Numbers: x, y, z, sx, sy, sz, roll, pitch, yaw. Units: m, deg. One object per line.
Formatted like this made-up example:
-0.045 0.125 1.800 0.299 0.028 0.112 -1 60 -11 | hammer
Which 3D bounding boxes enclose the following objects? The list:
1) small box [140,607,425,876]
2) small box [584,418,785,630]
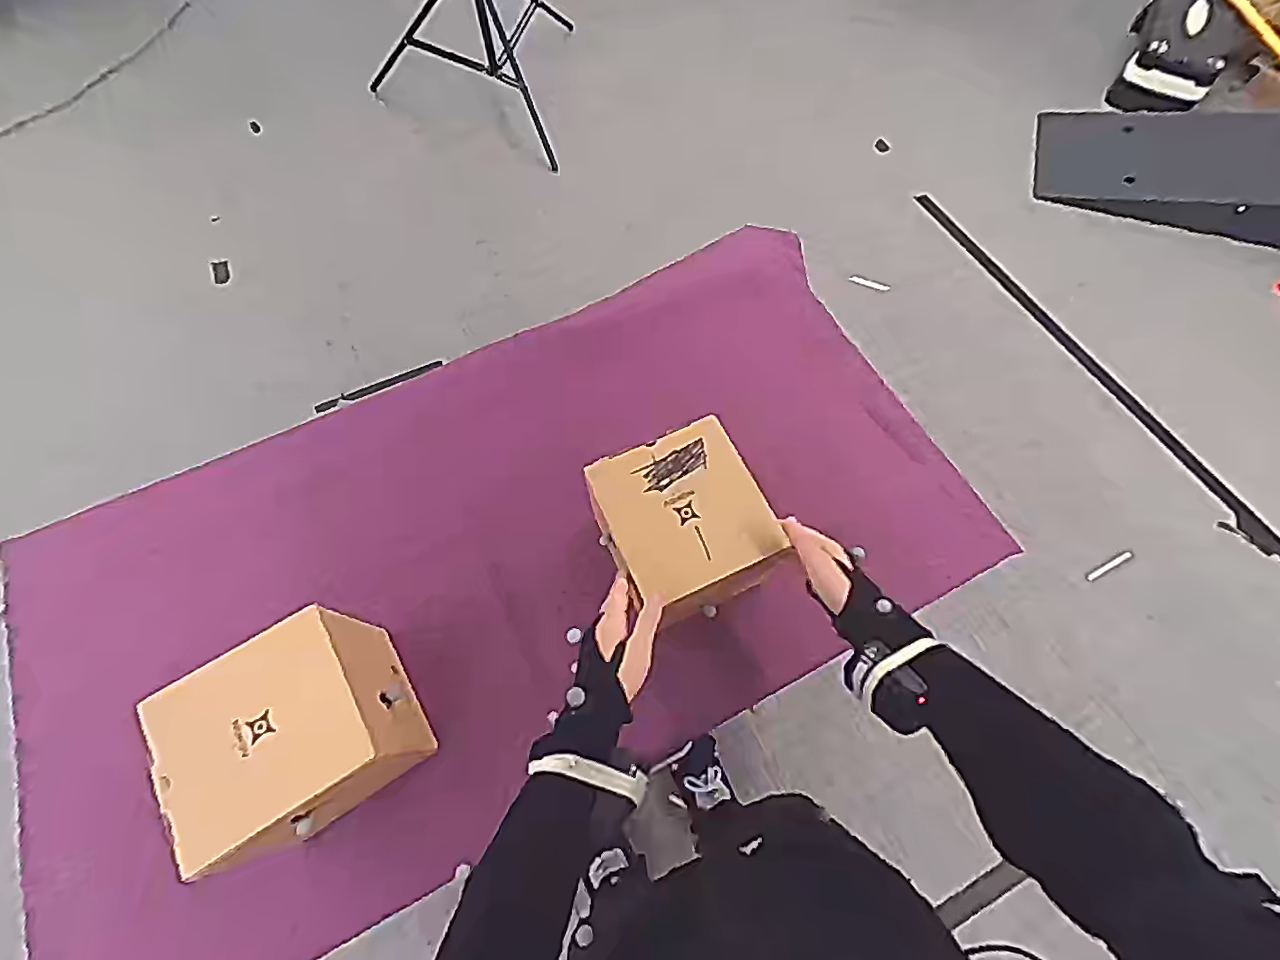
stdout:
-0.353 0.260 0.572 0.179 0.176 0.168 -31 70 -12 | small box
0.044 0.060 0.652 0.168 0.176 0.179 -23 69 -9 | small box
